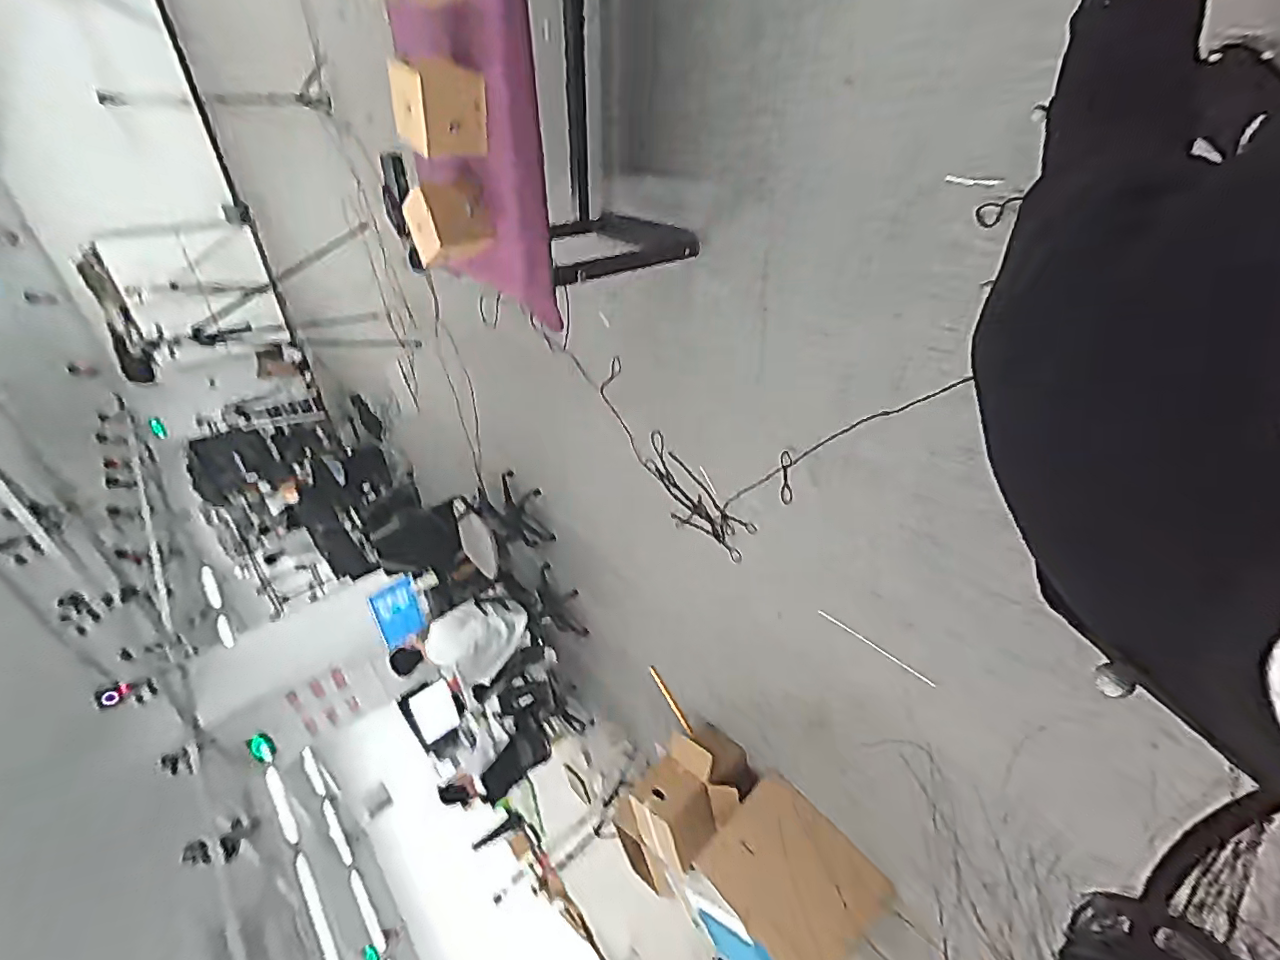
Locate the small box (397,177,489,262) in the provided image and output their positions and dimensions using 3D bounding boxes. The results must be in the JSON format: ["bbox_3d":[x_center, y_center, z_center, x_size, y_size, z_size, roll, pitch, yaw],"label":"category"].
[{"bbox_3d":[-0.552,-0.732,1.524,0.179,0.176,0.168,2,114,52],"label":"small box"}]

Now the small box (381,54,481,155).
[{"bbox_3d":[-0.503,-0.926,1.330,0.179,0.176,0.168,44,143,28],"label":"small box"}]
